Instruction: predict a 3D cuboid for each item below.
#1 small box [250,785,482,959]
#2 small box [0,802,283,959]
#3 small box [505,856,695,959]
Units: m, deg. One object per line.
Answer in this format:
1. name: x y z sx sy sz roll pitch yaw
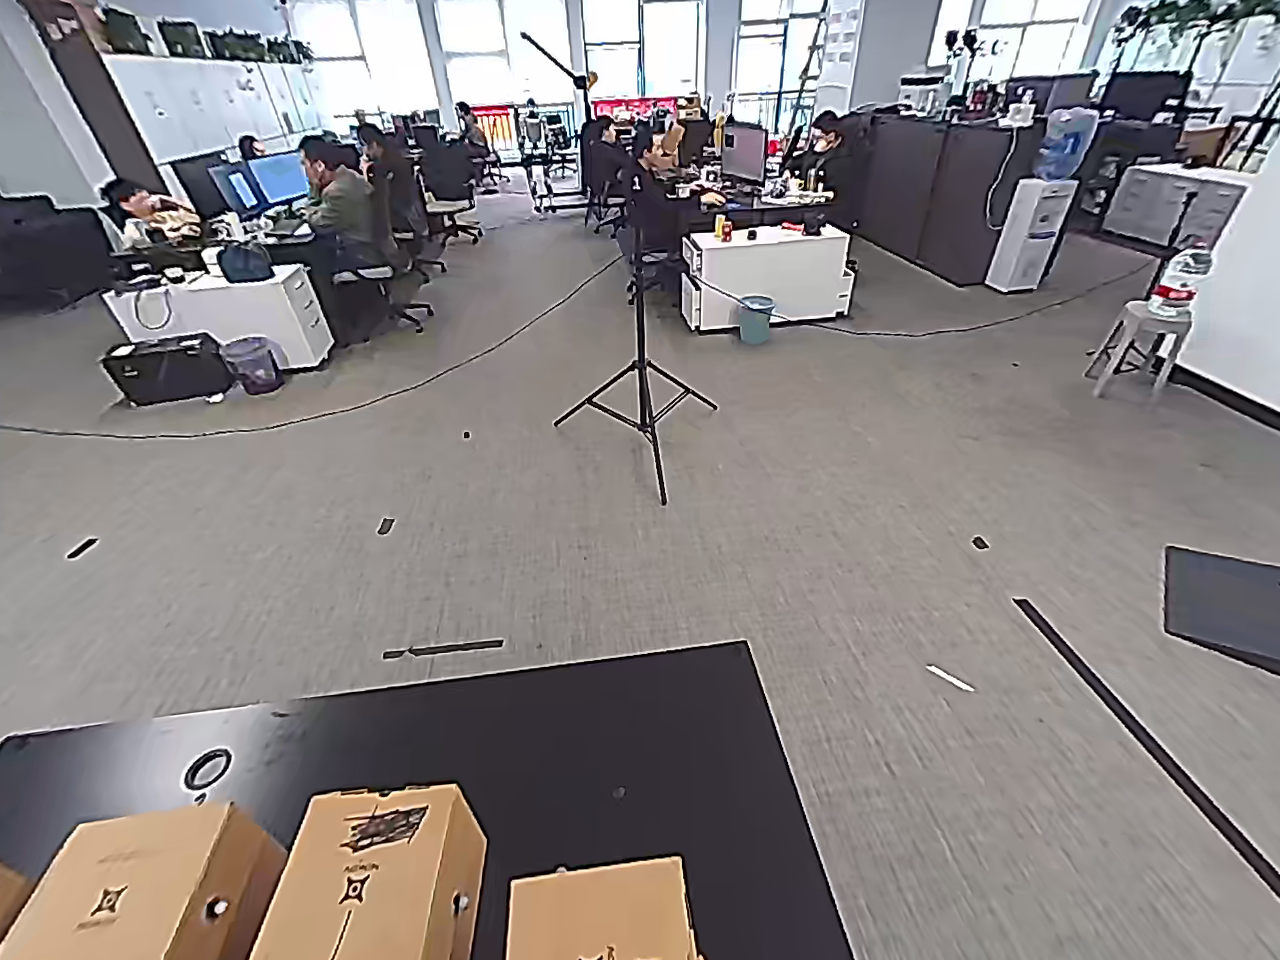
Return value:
1. small box: -0.281 0.470 0.598 0.168 0.176 0.179 -3 38 -2
2. small box: -0.529 0.490 0.588 0.168 0.176 0.179 -6 36 -6
3. small box: -0.032 0.507 0.534 0.179 0.176 0.168 -6 37 -4
